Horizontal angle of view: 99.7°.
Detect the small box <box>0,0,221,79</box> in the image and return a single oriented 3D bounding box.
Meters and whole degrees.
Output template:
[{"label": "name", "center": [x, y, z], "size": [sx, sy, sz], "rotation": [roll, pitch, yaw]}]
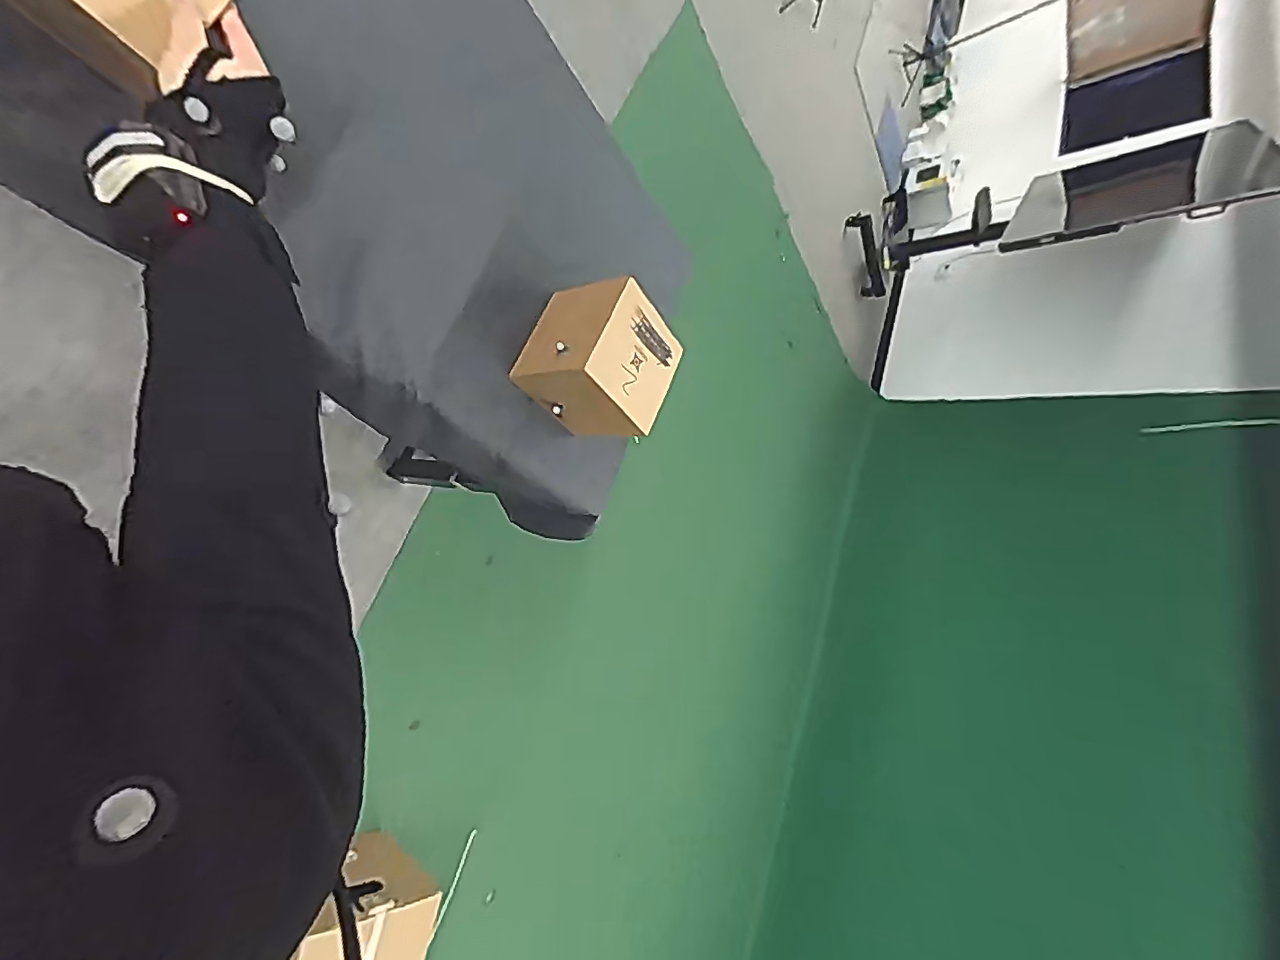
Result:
[{"label": "small box", "center": [-0.404, -0.415, 0.371], "size": [0.168, 0.176, 0.179], "rotation": [-60, 147, -6]}]
